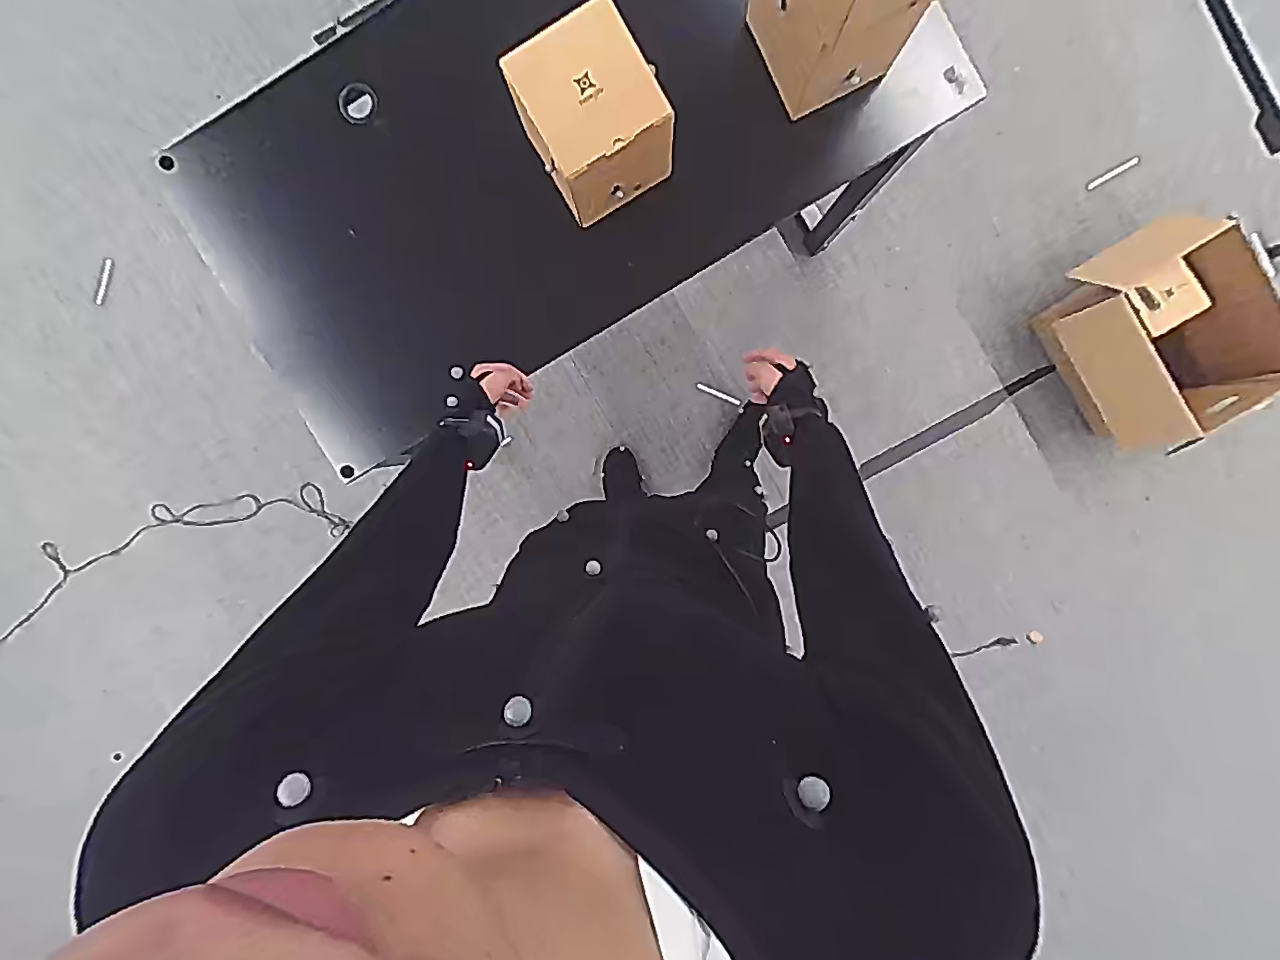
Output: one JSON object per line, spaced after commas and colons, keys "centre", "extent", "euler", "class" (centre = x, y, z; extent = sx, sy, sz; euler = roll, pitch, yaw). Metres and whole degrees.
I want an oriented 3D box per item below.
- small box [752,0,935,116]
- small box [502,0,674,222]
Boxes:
{"centre": [0.272, -0.664, 0.750], "extent": [0.168, 0.176, 0.179], "euler": [-25, 94, 4], "class": "small box"}
{"centre": [-0.067, -0.512, 0.772], "extent": [0.168, 0.176, 0.179], "euler": [-31, 94, 3], "class": "small box"}
